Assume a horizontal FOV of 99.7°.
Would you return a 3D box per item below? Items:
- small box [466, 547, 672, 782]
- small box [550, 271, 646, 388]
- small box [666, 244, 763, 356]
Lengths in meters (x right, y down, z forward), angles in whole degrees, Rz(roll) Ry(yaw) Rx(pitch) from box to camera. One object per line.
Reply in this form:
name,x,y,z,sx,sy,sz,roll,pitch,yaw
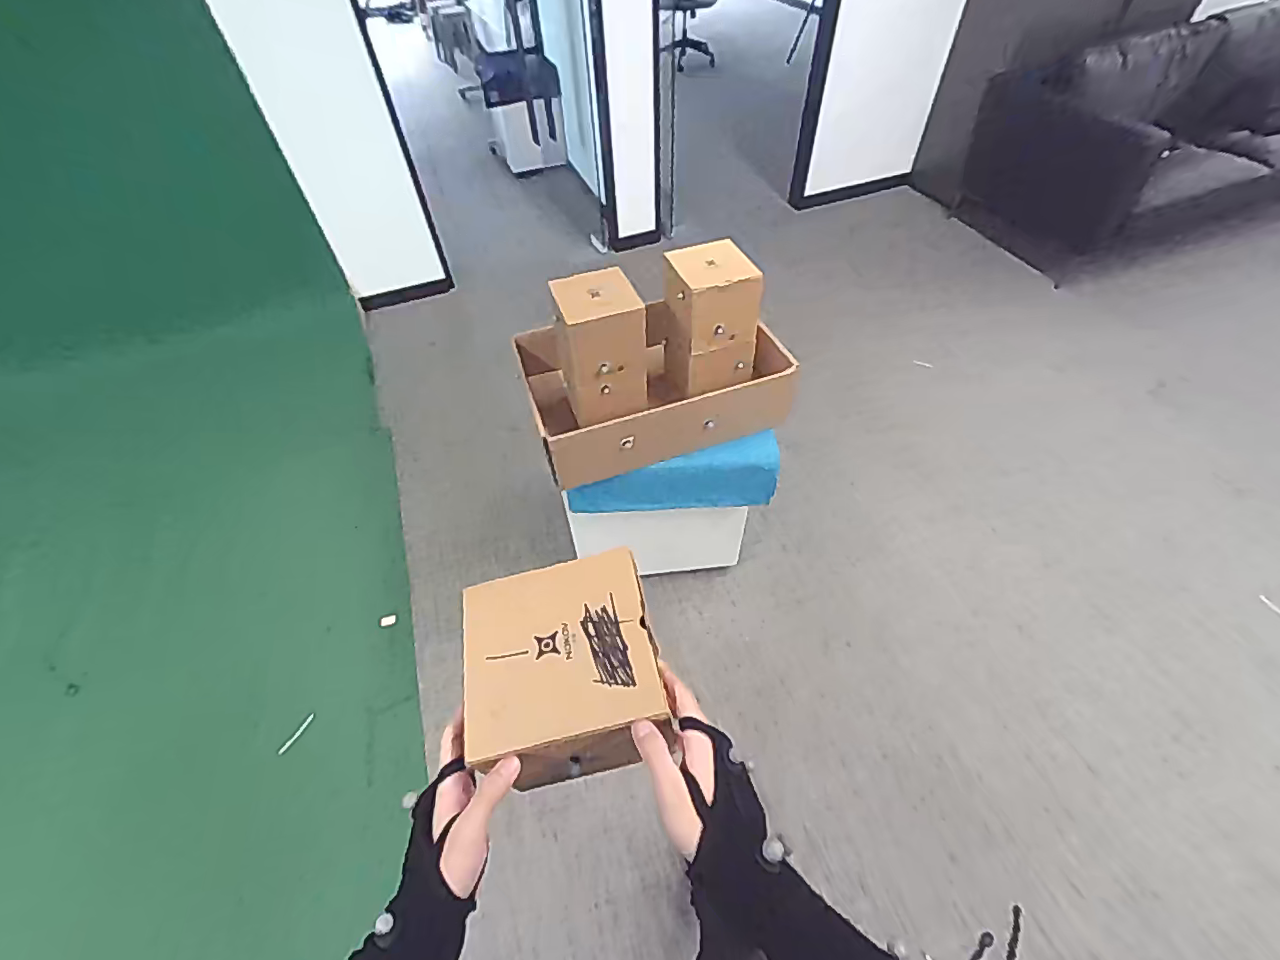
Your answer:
small box,-0.066,0.196,0.563,0.179,0.176,0.168,-13,52,-1
small box,-0.090,-0.331,1.192,0.168,0.176,0.179,-16,51,-10
small box,0.163,-0.415,1.247,0.168,0.176,0.179,-16,51,-10
